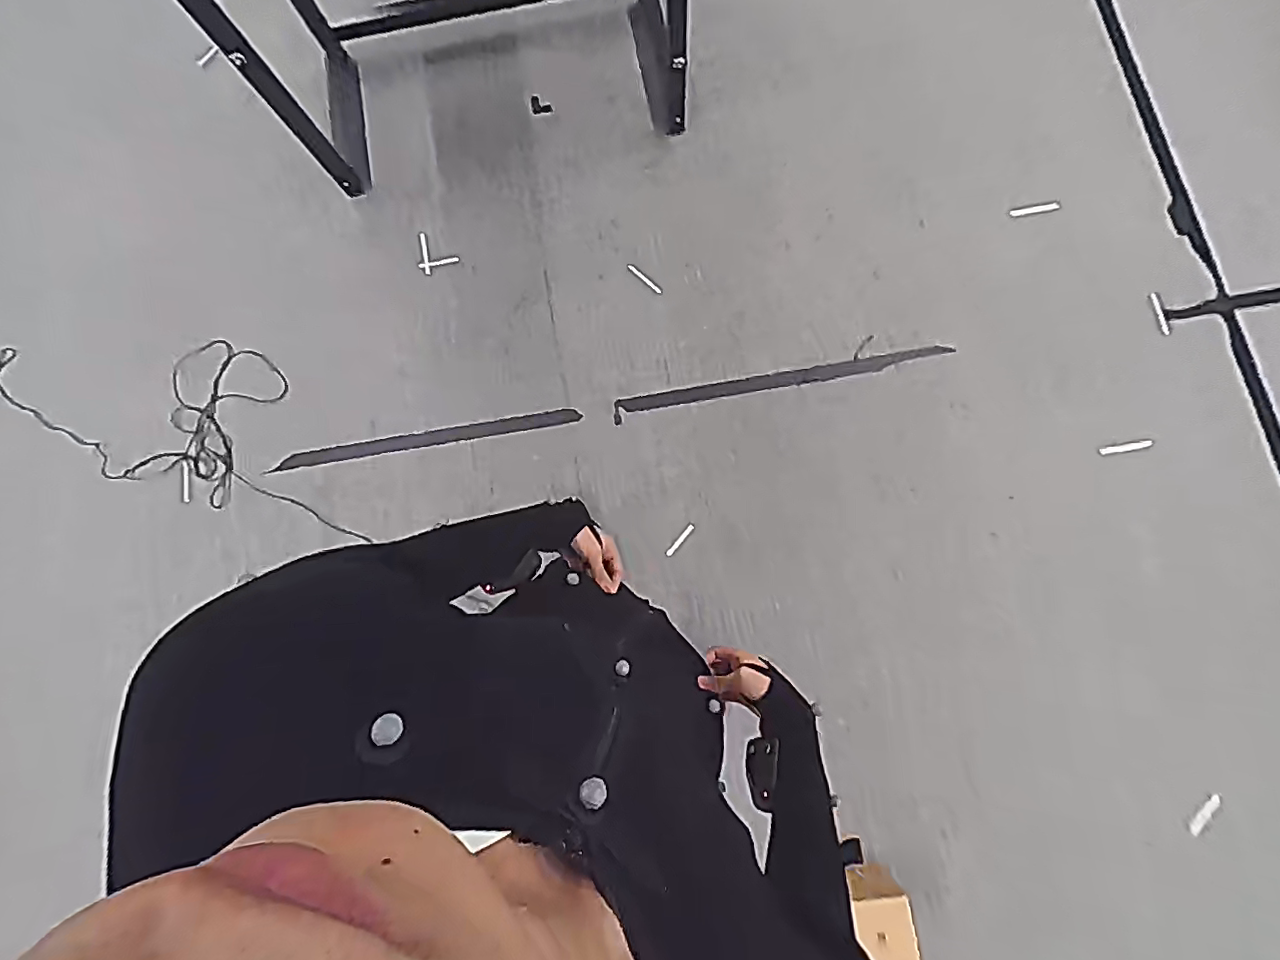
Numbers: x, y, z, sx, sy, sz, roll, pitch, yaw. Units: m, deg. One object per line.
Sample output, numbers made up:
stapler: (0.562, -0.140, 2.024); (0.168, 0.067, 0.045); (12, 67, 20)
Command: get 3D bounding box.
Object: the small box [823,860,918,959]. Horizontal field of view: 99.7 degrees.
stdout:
small box: (0.587, 1.123, 1.388); (0.168, 0.176, 0.179); (-7, 81, 0)
